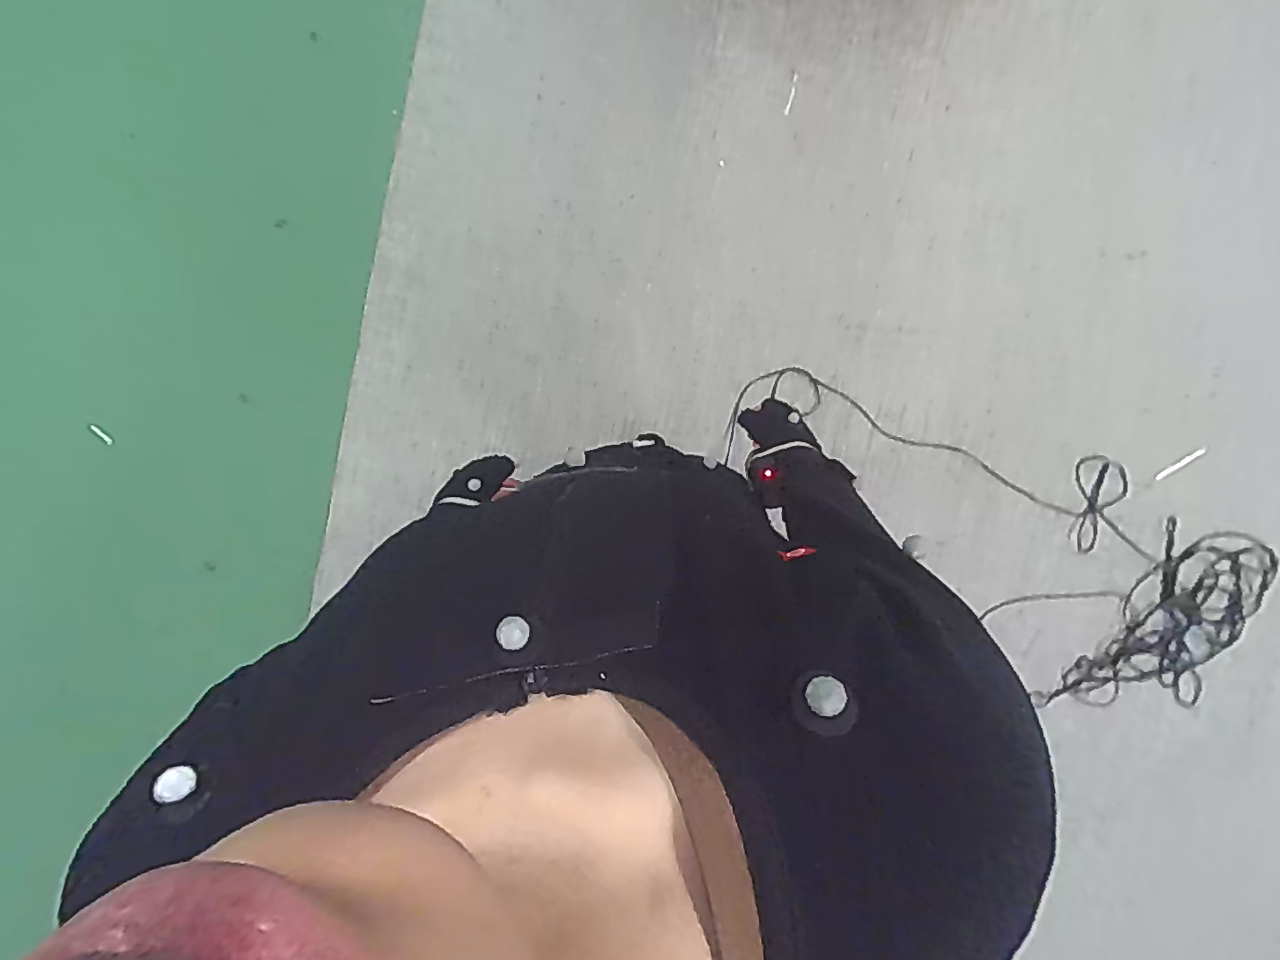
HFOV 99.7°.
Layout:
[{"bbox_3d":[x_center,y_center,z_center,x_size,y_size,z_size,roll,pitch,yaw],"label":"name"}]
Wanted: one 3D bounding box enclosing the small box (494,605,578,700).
[{"bbox_3d":[-0.269,0.450,1.438,0.168,0.176,0.179,12,94,3],"label":"small box"}]
